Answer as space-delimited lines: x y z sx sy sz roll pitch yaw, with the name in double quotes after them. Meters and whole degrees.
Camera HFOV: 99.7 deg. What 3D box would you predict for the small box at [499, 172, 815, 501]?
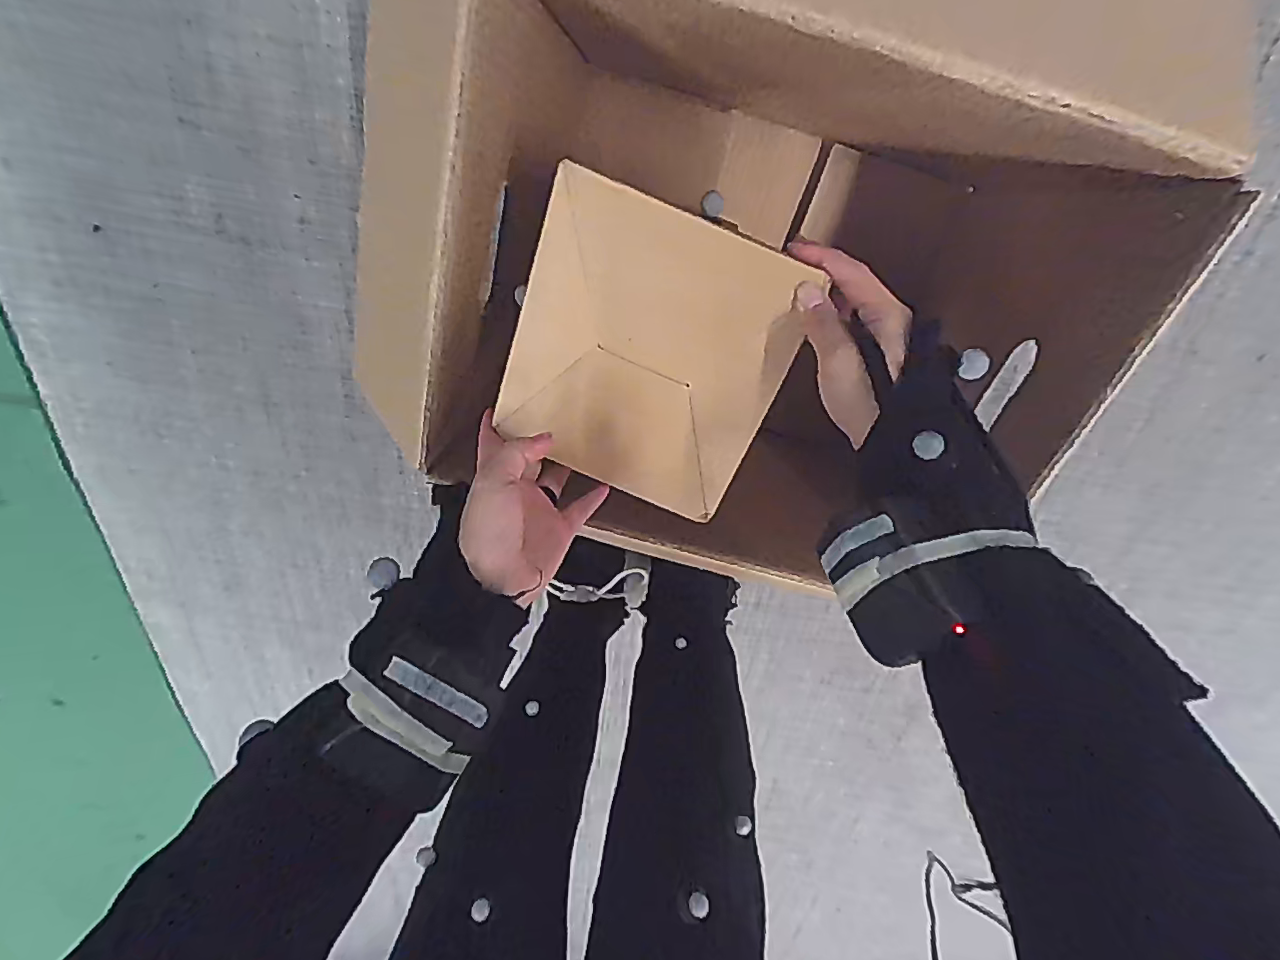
0.013 -0.114 0.412 0.168 0.176 0.179 22 117 -2 "small box"
